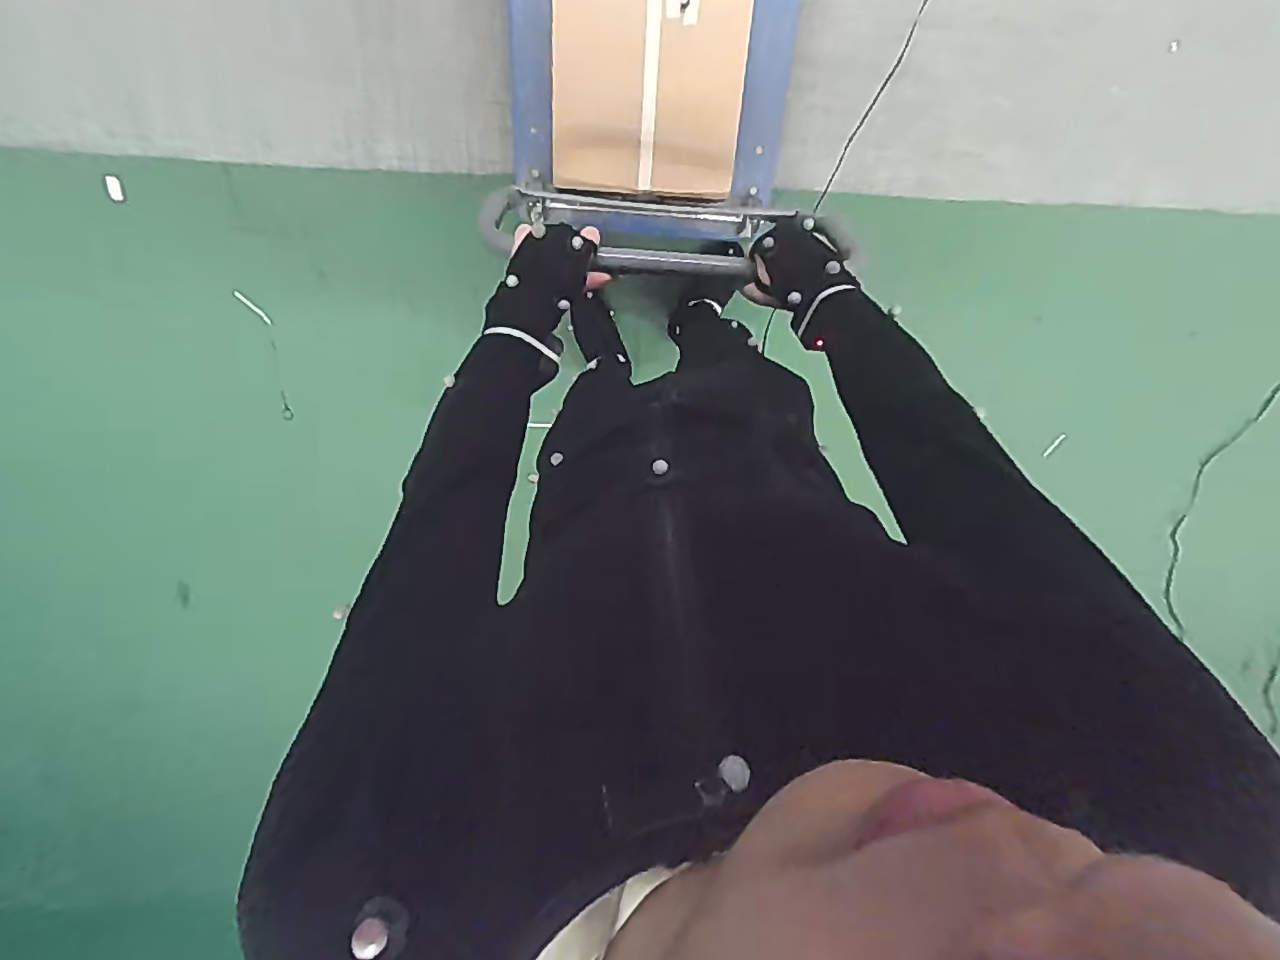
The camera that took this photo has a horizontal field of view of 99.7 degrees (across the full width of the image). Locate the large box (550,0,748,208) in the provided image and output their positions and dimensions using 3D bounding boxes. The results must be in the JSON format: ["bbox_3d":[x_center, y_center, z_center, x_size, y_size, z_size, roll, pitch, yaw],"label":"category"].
[{"bbox_3d":[0.004,-0.743,1.008,0.320,0.320,0.408,2,114,-5],"label":"large box"}]
